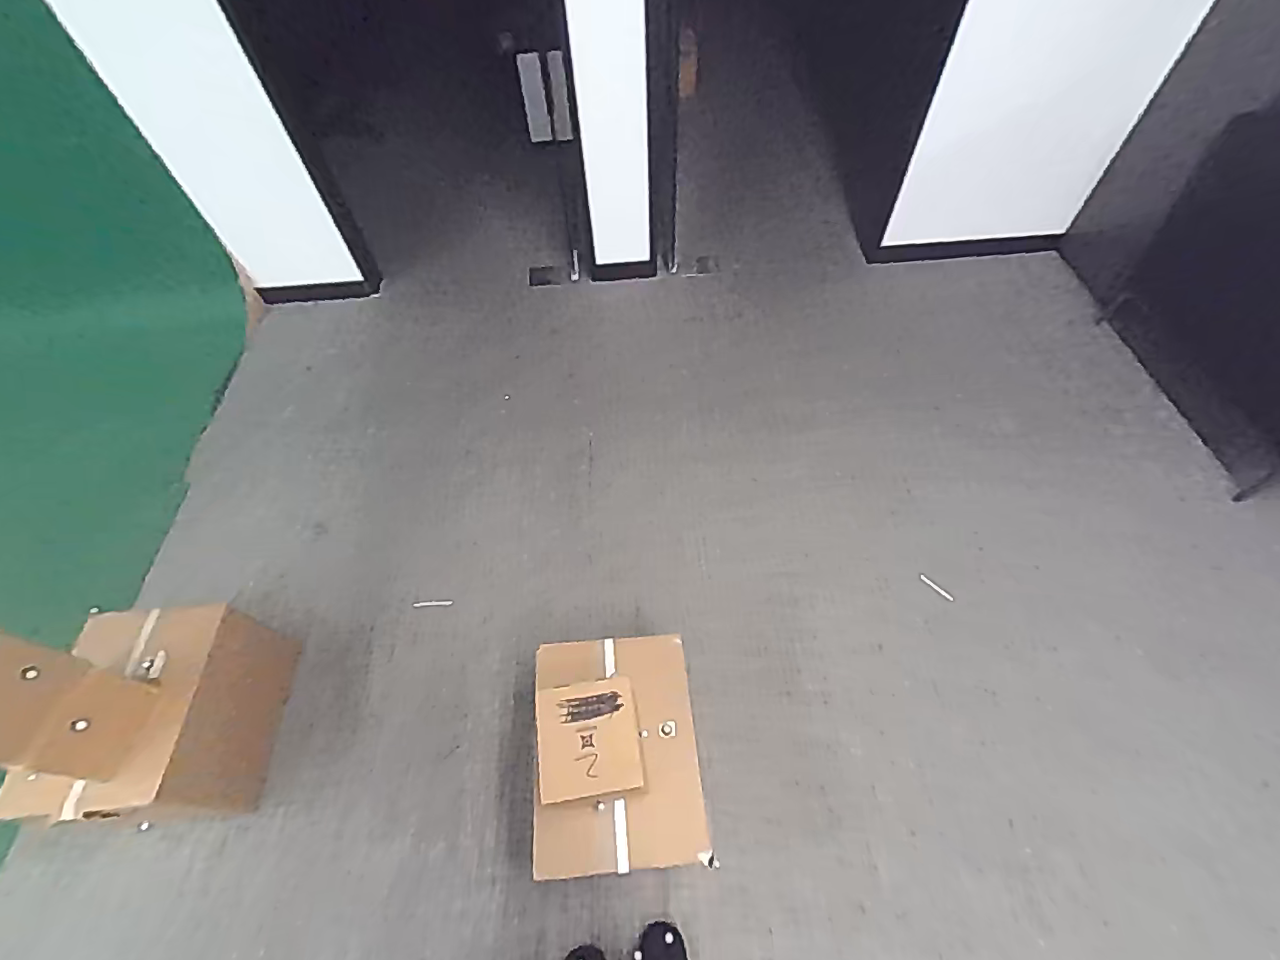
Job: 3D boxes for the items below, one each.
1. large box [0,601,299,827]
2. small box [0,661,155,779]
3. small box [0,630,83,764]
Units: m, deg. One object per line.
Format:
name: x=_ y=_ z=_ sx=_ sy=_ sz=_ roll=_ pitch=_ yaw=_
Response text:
large box: x=-1.064 y=0.538 z=1.239 sx=0.320 sy=0.320 sz=0.408 roll=-5 pitch=55 yaw=-1
small box: x=-1.075 y=0.444 z=1.010 sx=0.168 sy=0.176 sz=0.179 roll=4 pitch=56 yaw=6
small box: x=-1.087 y=0.345 z=0.881 sx=0.168 sy=0.176 sz=0.179 roll=6 pitch=57 yaw=8
